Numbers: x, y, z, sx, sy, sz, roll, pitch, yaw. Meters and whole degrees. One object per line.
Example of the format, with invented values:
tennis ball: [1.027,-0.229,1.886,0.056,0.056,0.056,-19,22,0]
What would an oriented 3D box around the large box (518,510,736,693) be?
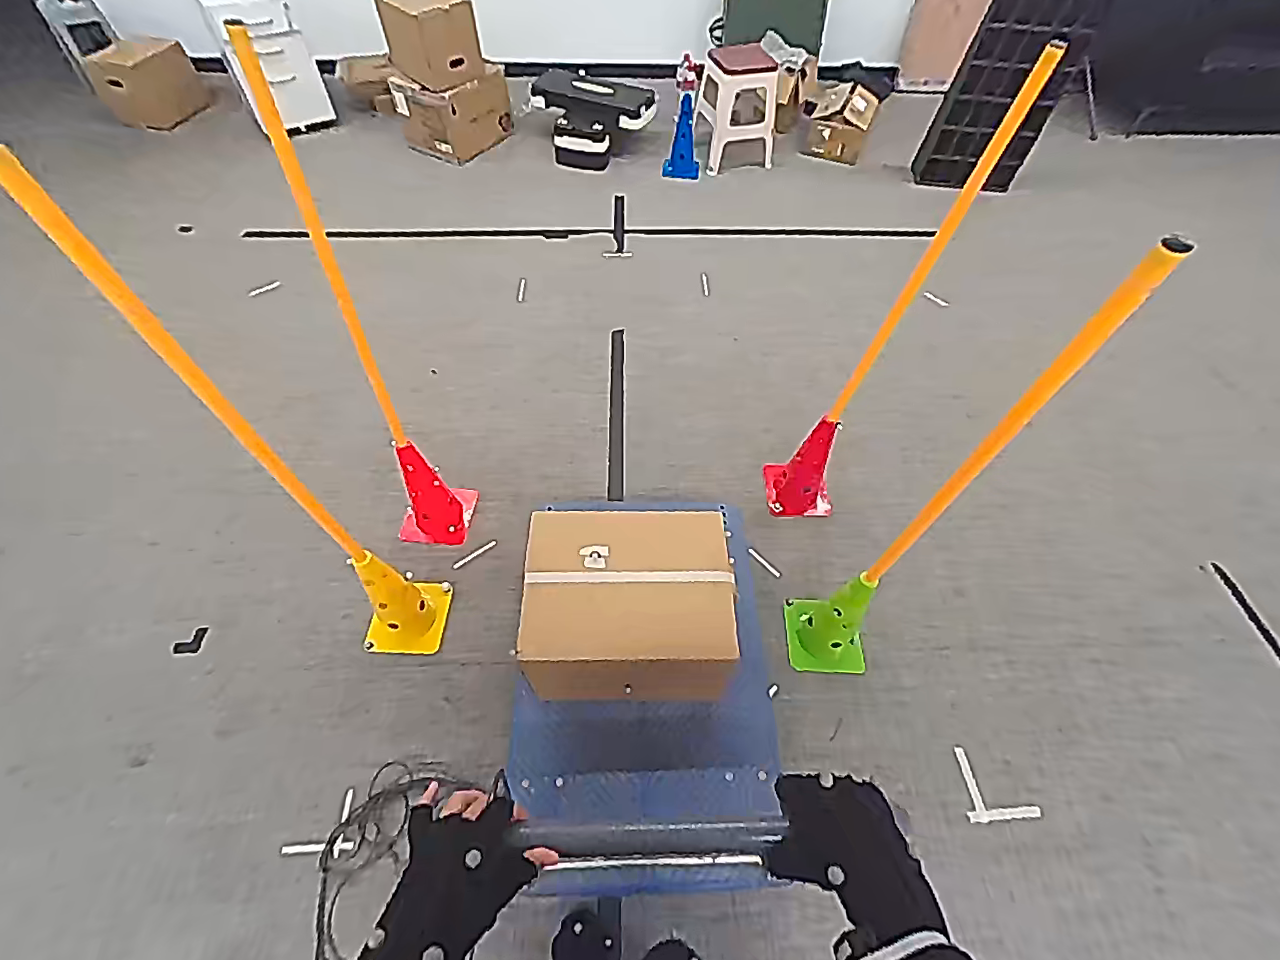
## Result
large box: [-0.026,0.275,1.186,0.408,0.320,0.320,0,55,-1]

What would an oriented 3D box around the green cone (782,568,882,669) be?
green cone: [0.507,0.319,1.349,0.202,0.368,0.200,4,55,-1]

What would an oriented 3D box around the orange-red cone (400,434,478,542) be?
orange-red cone: [-0.611,-0.004,1.539,0.198,0.360,0.199,7,54,1]

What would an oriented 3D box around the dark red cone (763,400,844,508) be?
dark red cone: [0.517,-0.088,1.613,0.201,0.394,0.202,1,55,-4]
